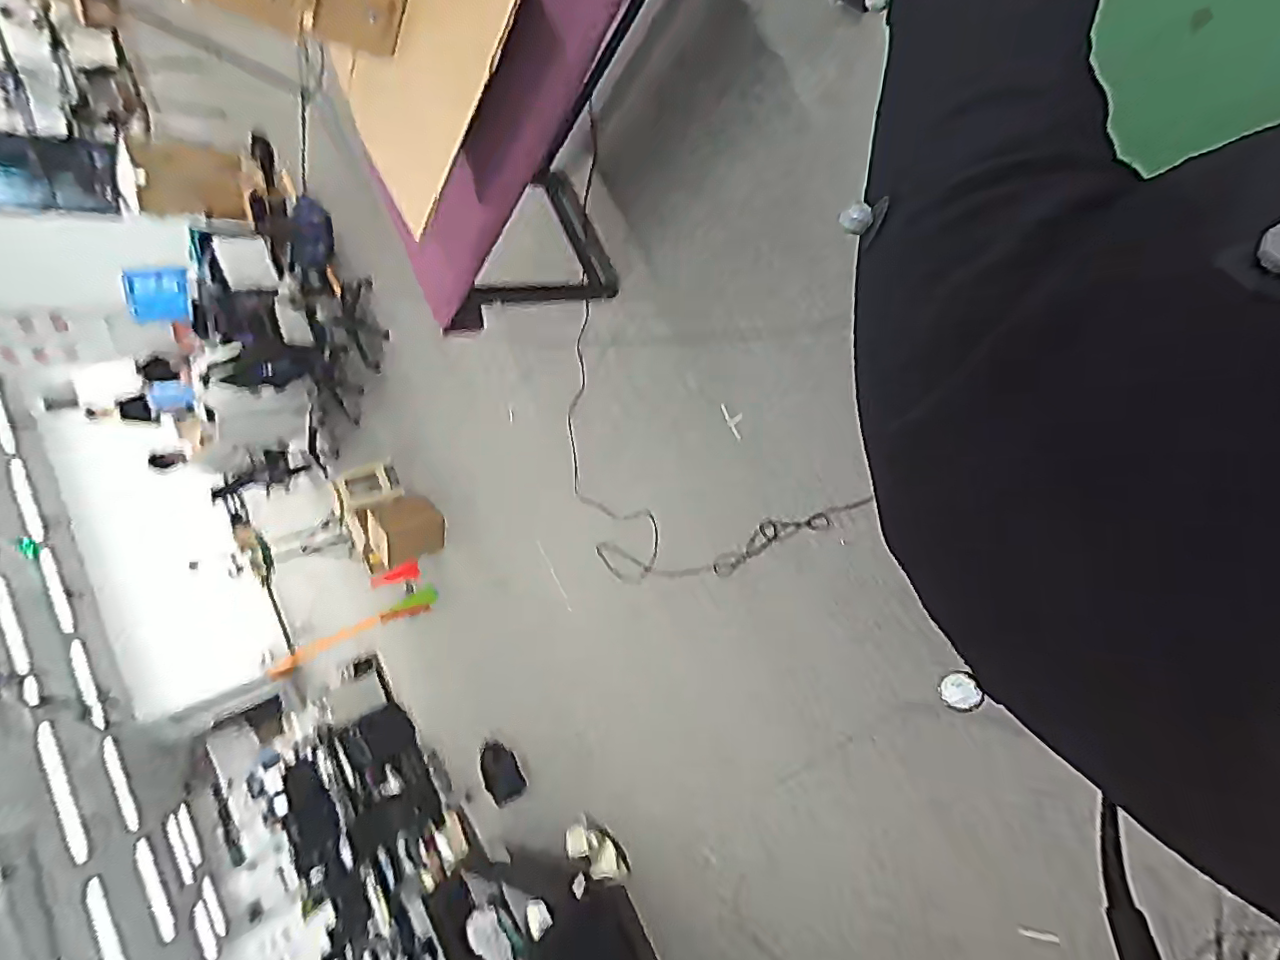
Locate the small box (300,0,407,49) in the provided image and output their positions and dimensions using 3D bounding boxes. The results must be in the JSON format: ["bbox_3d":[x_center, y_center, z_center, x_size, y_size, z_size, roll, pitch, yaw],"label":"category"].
[{"bbox_3d":[-0.552,-0.960,1.006,0.168,0.176,0.179,-31,80,48],"label":"small box"}]

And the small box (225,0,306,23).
[{"bbox_3d":[-0.669,-0.922,0.899,0.168,0.176,0.179,-31,81,48],"label":"small box"}]
